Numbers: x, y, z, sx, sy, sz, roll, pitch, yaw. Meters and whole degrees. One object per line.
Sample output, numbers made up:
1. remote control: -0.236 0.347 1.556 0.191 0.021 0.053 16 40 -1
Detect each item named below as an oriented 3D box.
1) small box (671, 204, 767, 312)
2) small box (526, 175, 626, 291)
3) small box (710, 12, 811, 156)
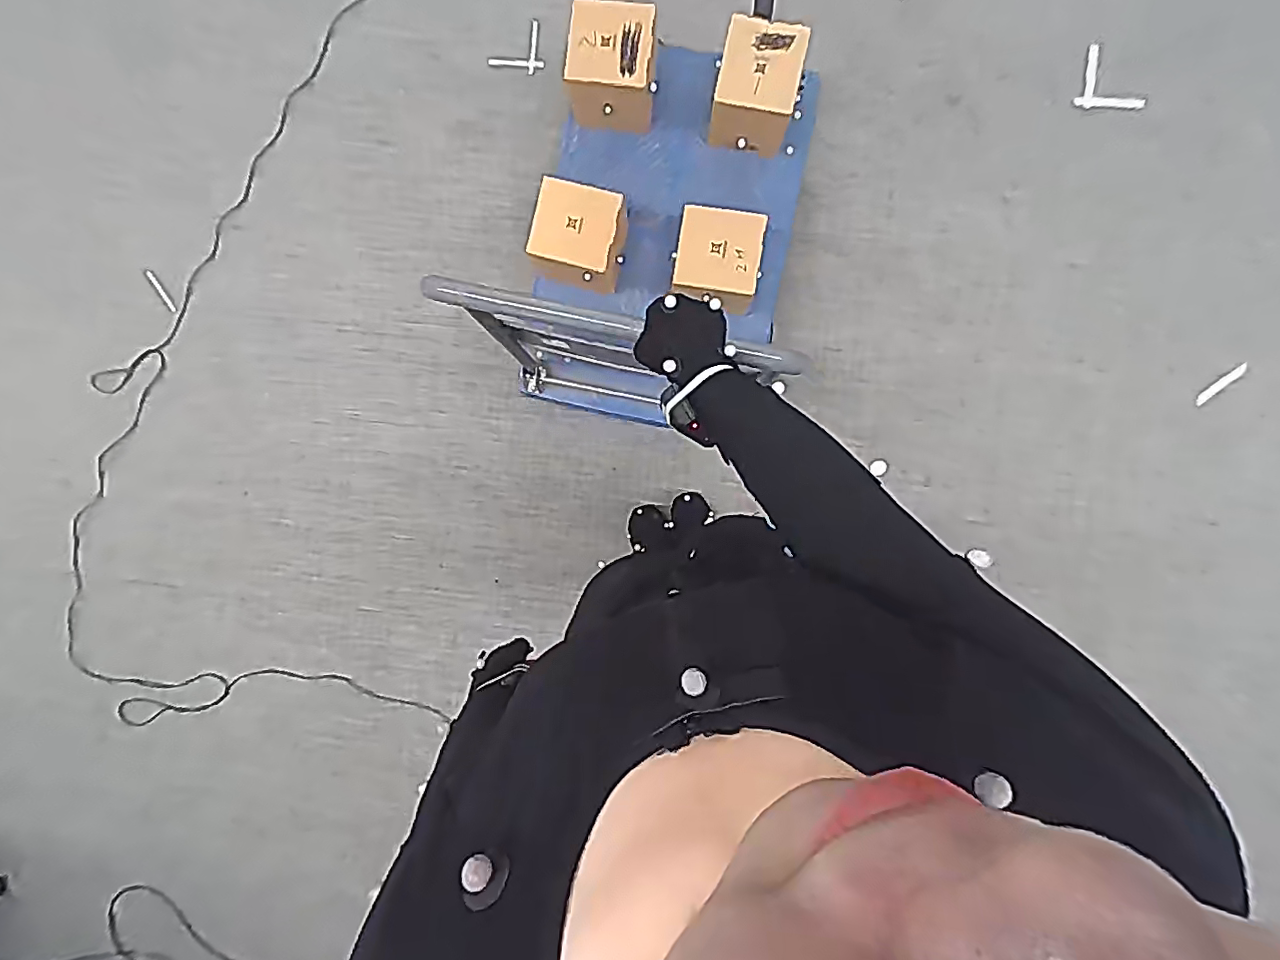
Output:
1. small box: 0.168 -0.484 1.199 0.179 0.176 0.168 10 94 3
2. small box: -0.135 -0.543 1.213 0.179 0.176 0.168 14 93 0
3. small box: 0.252 -0.850 1.175 0.168 0.176 0.179 13 95 3
